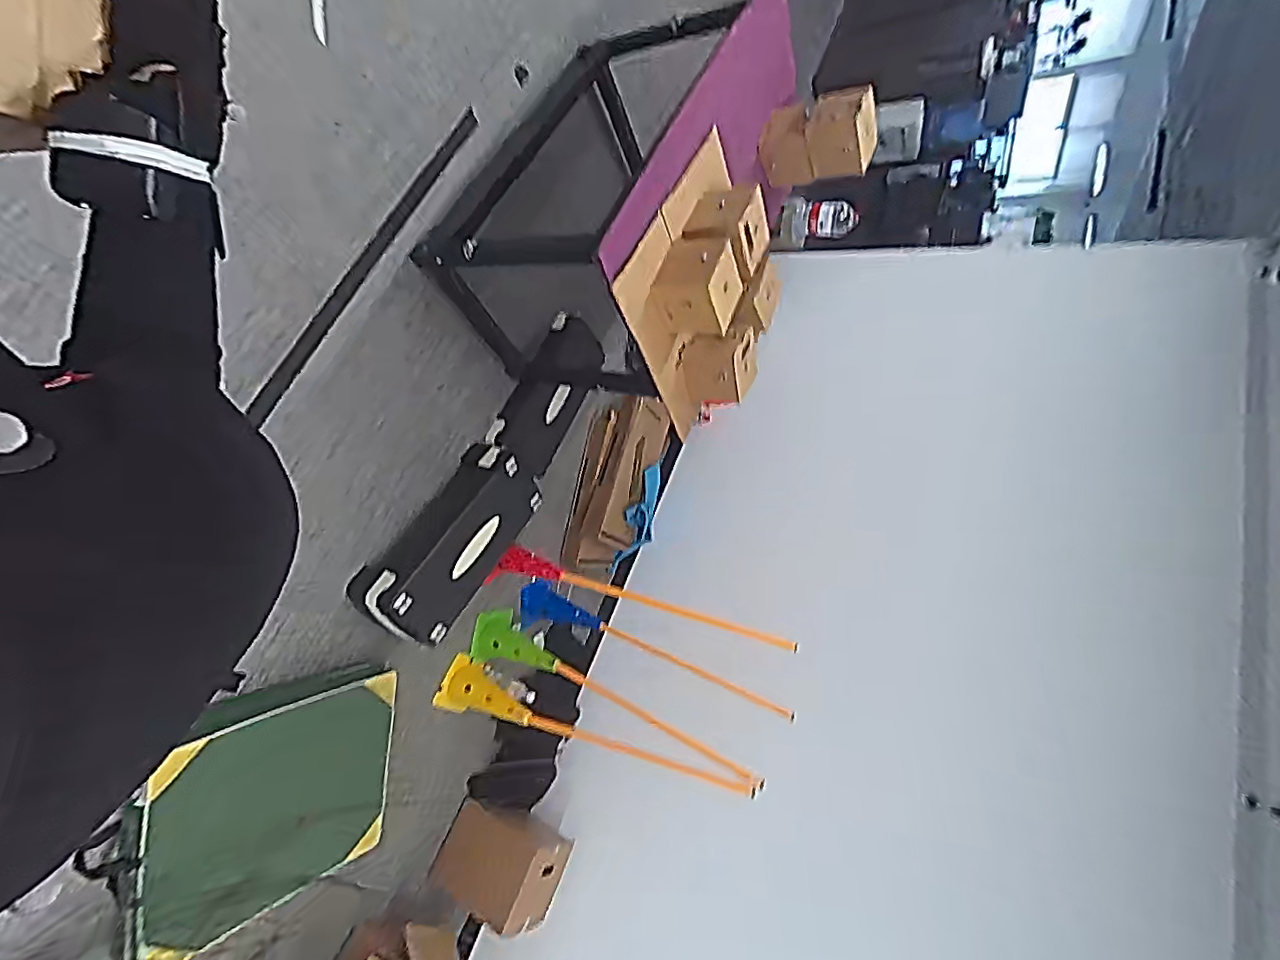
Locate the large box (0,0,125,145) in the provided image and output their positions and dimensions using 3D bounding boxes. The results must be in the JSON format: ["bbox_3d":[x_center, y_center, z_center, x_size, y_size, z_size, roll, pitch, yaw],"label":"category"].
[{"bbox_3d":[-0.563,-0.403,0.247,0.408,0.320,0.320,-11,116,-59],"label":"large box"}]
